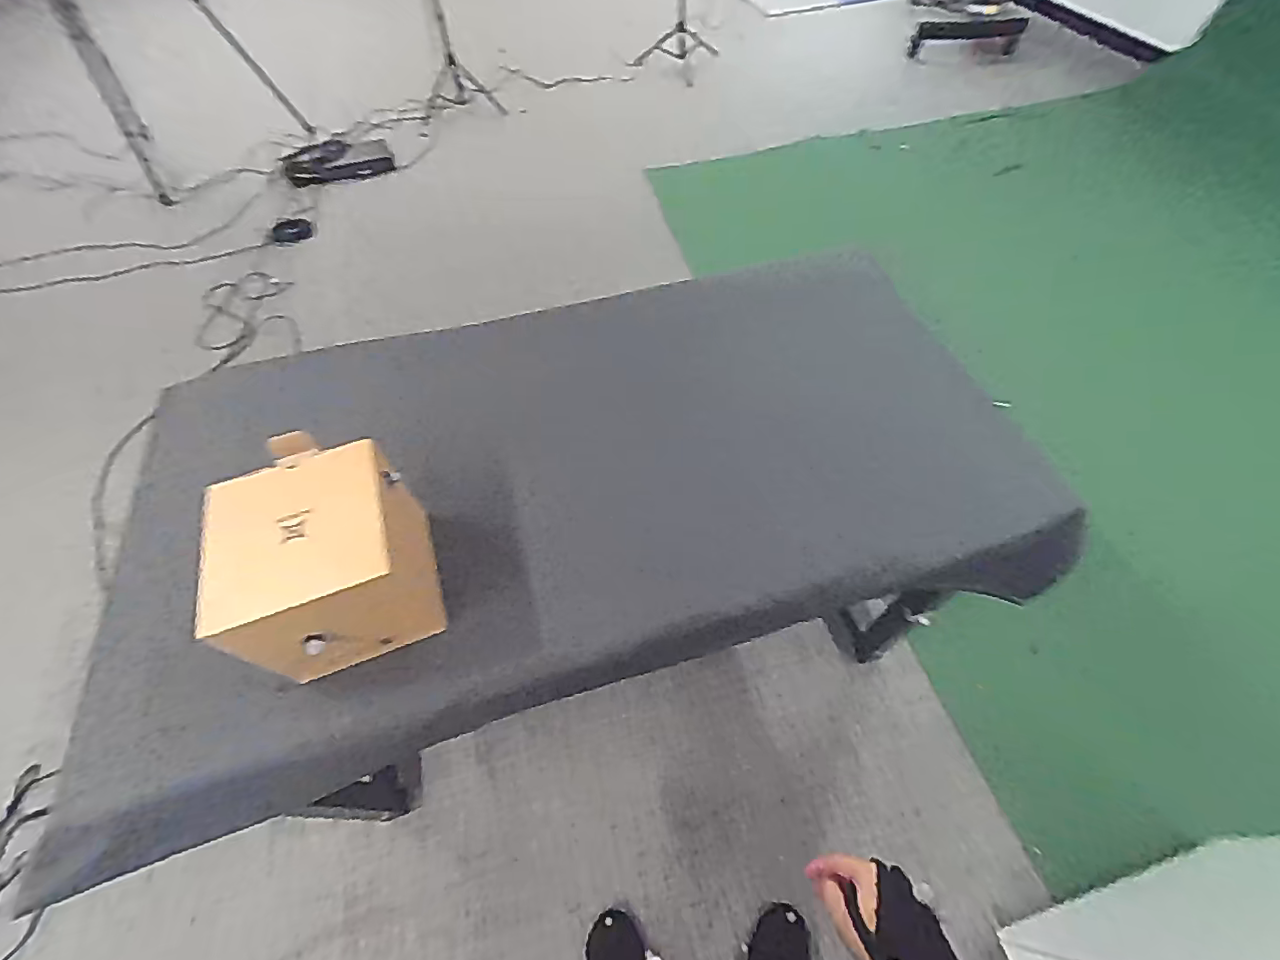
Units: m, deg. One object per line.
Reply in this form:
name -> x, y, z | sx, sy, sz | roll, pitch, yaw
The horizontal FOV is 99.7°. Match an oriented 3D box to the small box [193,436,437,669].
small box -> -0.338, 0.088, 0.590 | 0.168, 0.176, 0.179 | -19, 57, -11
